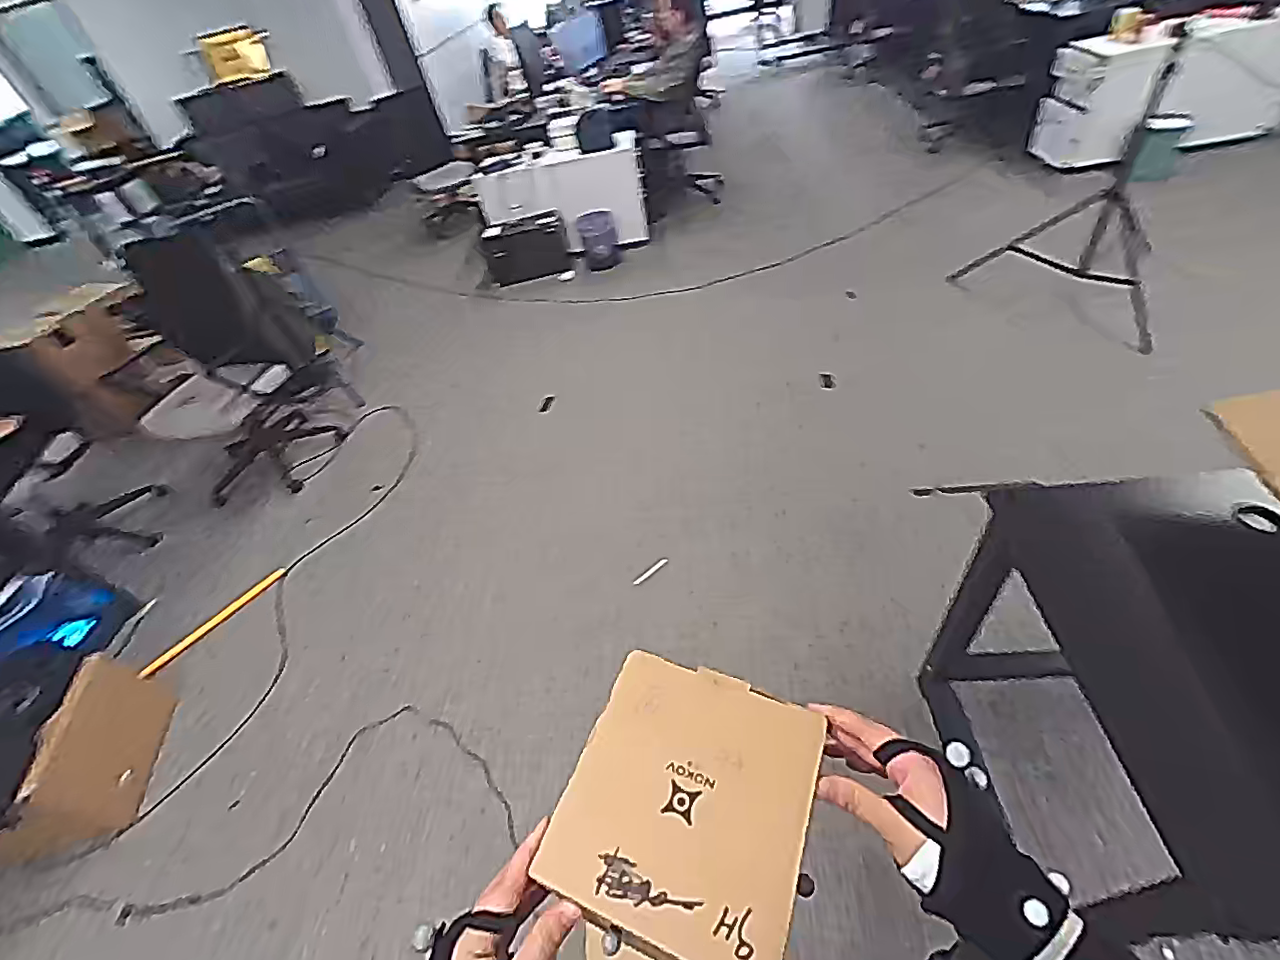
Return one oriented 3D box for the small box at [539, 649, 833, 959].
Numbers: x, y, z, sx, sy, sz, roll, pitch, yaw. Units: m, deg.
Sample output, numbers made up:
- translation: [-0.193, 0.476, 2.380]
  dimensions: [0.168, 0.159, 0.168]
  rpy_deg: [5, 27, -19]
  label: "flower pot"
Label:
- translation: [0.047, 0.277, 0.440]
  dimensions: [0.168, 0.176, 0.179]
  rpy_deg: [13, 47, 23]
  label: "small box"
